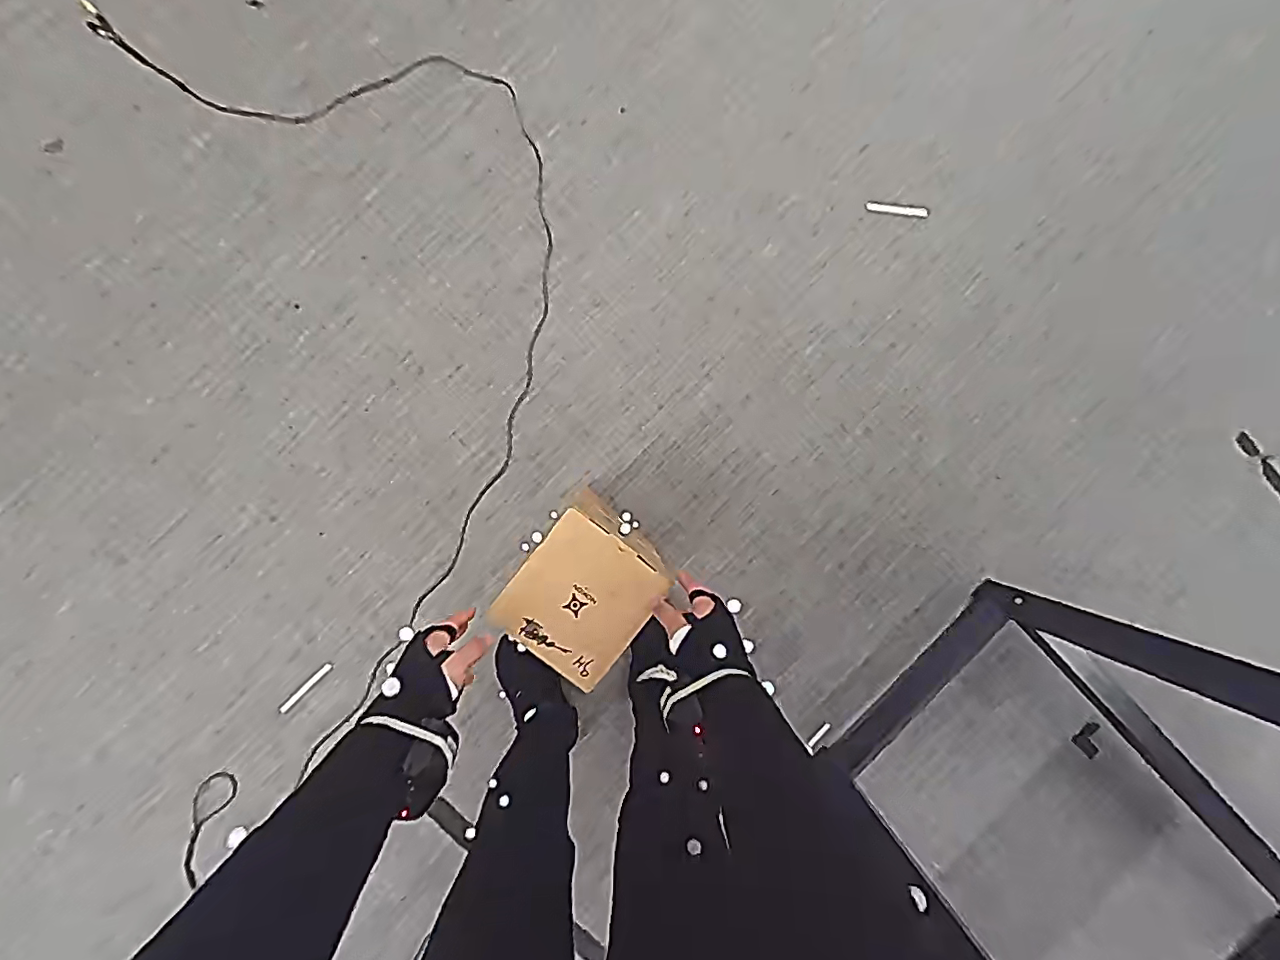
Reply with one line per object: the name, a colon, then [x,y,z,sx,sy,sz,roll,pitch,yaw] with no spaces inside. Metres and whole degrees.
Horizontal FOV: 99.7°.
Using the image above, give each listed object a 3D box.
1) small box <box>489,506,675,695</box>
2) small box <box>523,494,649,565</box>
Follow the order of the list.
small box: [-0.078,0.149,0.745,0.168,0.176,0.179,38,88,-4]
small box: [-0.105,0.142,1.072,0.168,0.176,0.179,41,89,-4]
